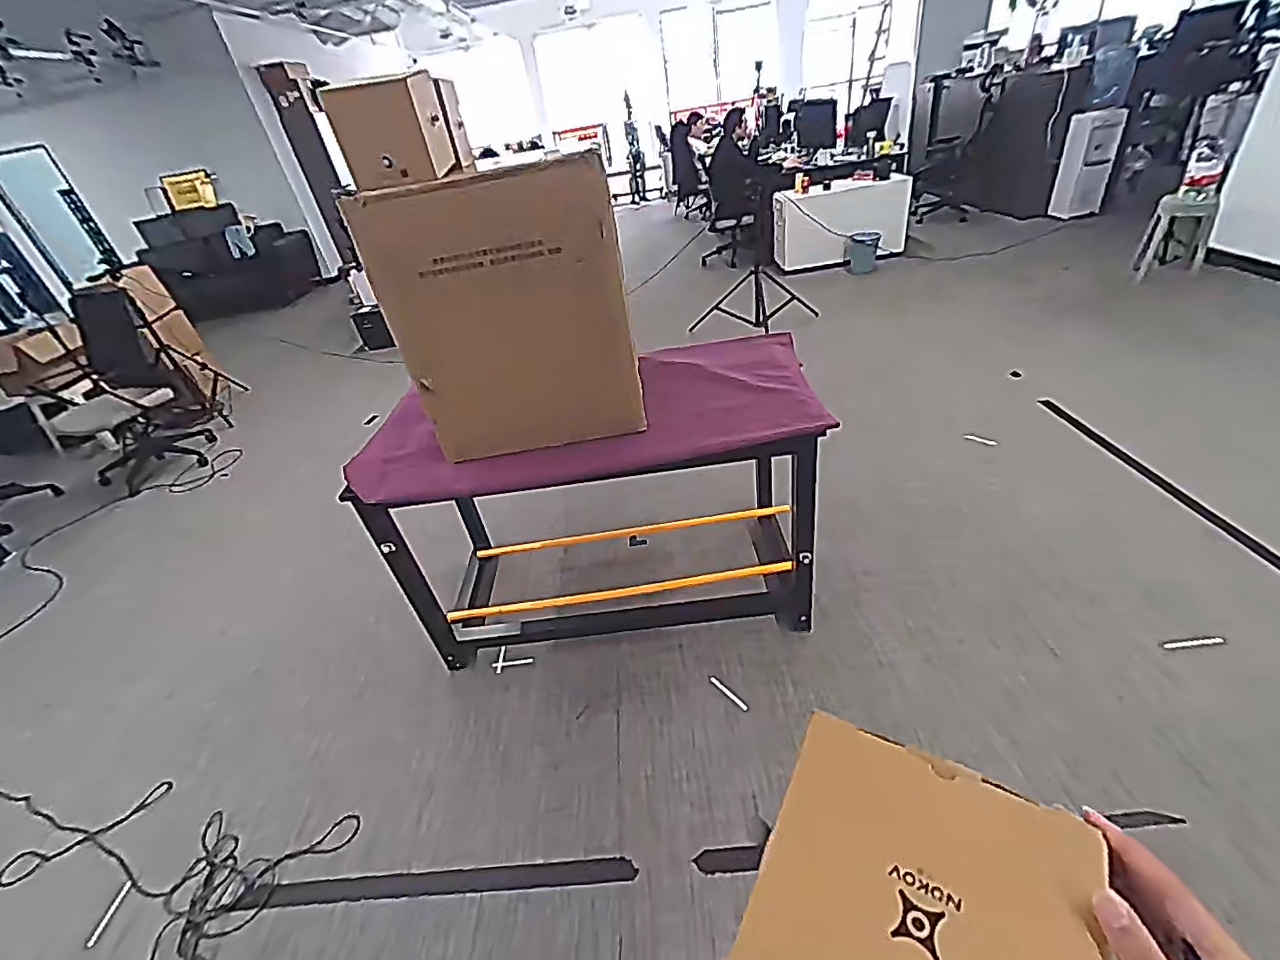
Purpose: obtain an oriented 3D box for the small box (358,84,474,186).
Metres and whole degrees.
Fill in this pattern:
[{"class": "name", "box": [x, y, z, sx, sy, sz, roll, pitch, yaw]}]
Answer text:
[{"class": "small box", "box": [-0.493, -0.782, 1.225, 0.179, 0.176, 0.168, -9, 34, 1]}]
